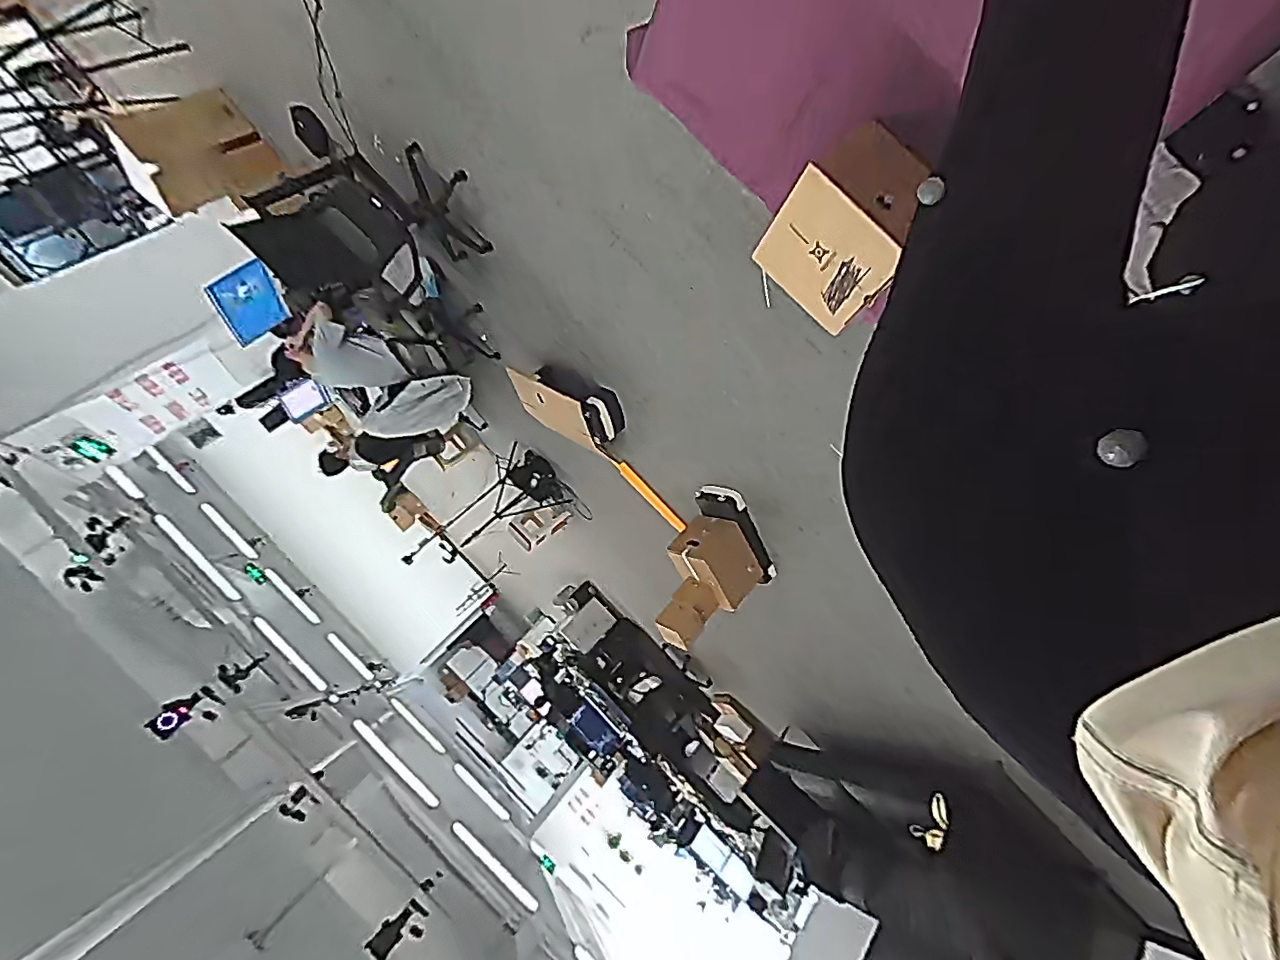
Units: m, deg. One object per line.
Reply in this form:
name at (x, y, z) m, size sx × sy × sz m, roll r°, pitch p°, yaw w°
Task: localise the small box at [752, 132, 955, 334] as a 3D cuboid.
small box at (0.302, -0.353, 0.773) m, size 0.179 × 0.176 × 0.168 m, roll 46°, pitch 155°, yaw 4°
